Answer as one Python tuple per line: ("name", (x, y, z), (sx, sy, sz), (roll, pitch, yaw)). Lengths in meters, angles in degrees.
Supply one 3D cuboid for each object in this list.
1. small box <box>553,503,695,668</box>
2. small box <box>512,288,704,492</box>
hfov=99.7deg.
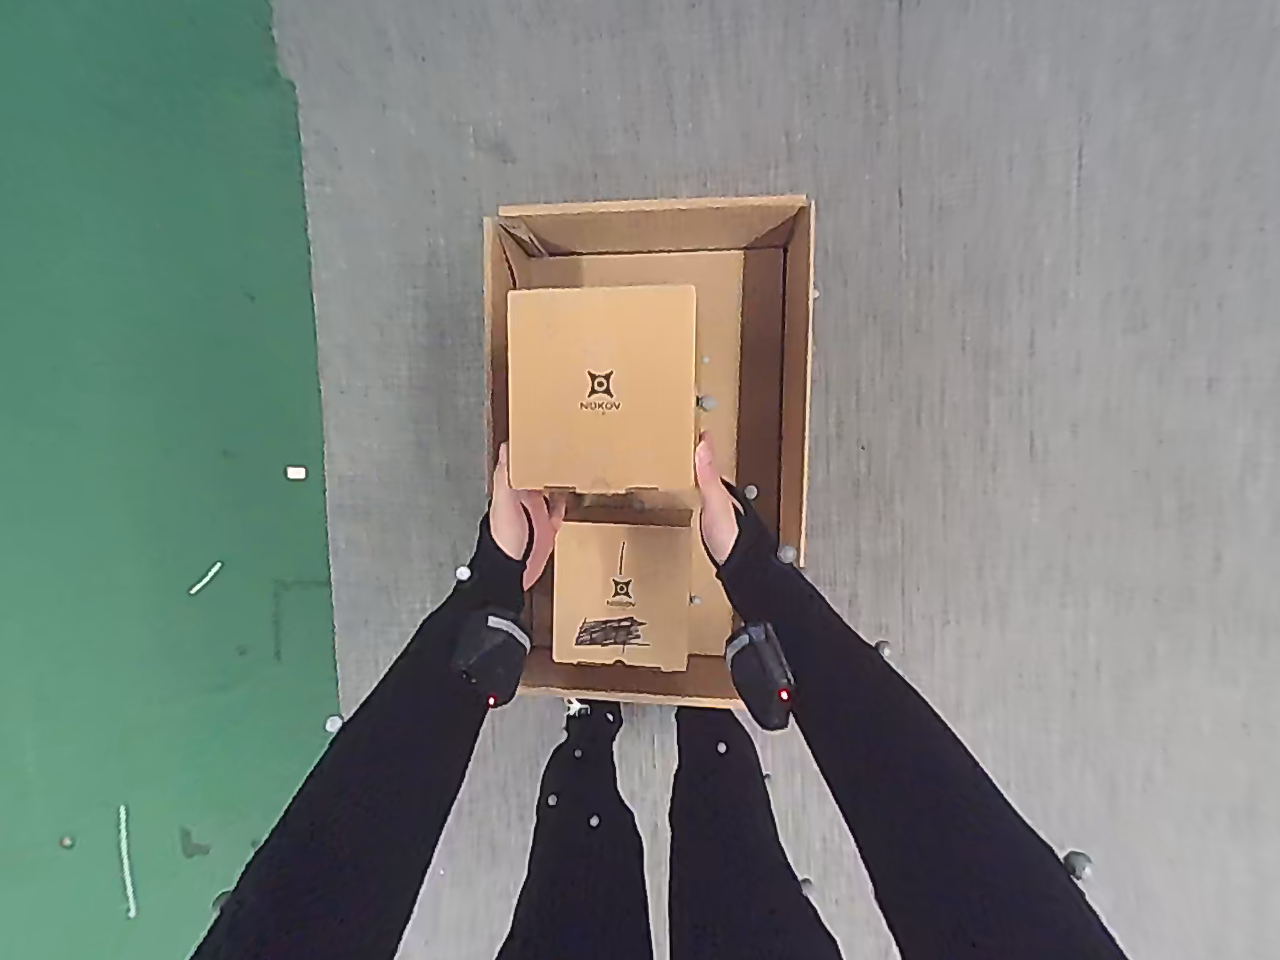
("small box", (-0.013, 0.130, 0.726), (0.168, 0.176, 0.179), (2, 93, 6))
("small box", (-0.022, -0.081, 0.547), (0.168, 0.176, 0.179), (1, 93, 8))
